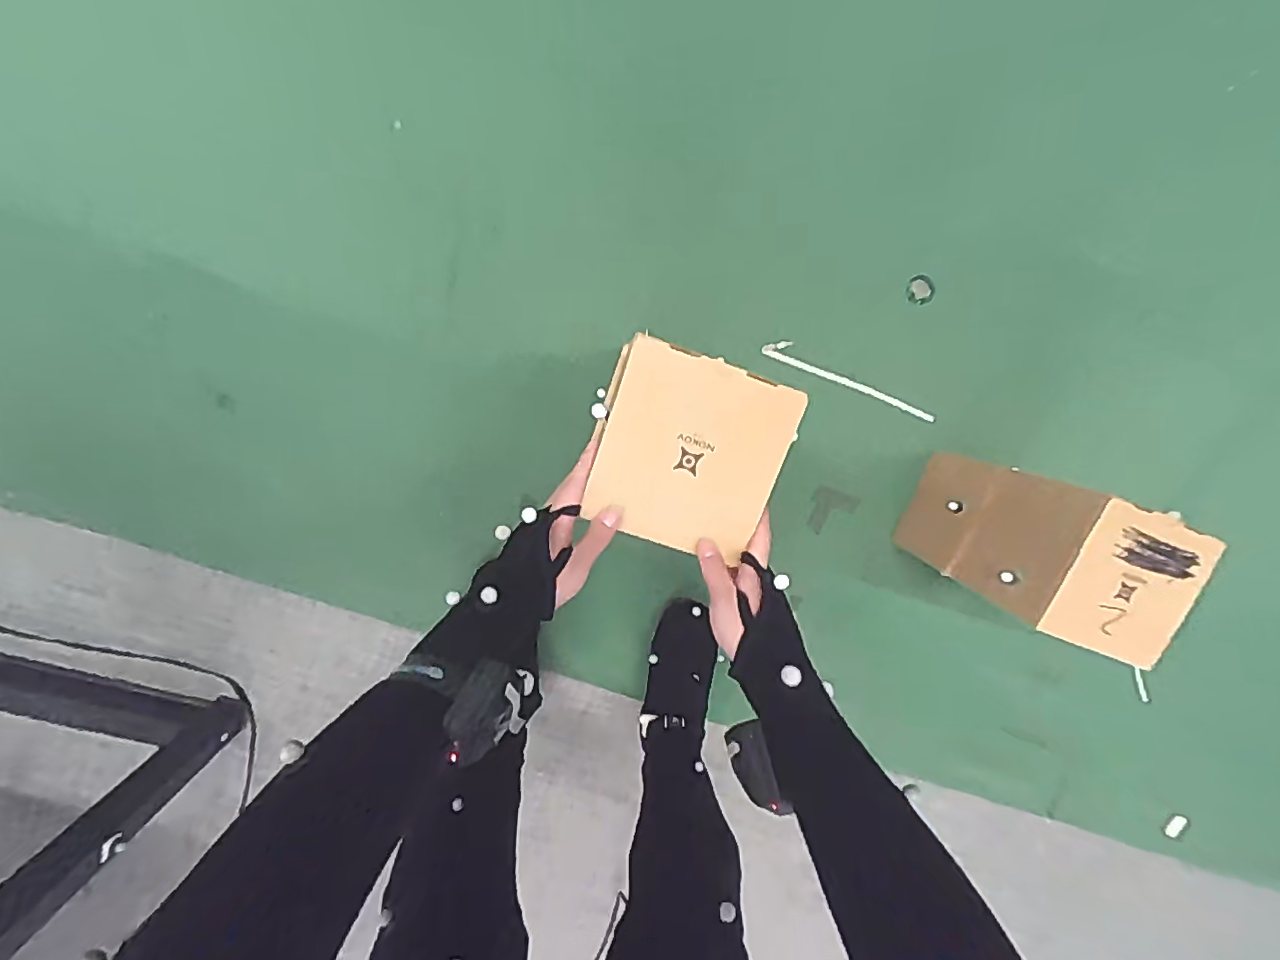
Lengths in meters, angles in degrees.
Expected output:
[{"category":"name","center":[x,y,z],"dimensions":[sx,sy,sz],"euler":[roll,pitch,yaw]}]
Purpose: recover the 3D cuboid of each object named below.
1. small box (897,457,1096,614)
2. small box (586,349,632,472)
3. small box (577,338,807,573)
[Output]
[{"category":"small box","center":[0.548,0.077,0.861],"dimensions":[0.168,0.176,0.179],"euler":[21,100,-7]},{"category":"small box","center":[0.026,-0.083,0.807],"dimensions":[0.168,0.176,0.179],"euler":[19,101,-5]},{"category":"small box","center":[0.045,-0.031,0.565],"dimensions":[0.168,0.176,0.179],"euler":[18,98,-5]}]
